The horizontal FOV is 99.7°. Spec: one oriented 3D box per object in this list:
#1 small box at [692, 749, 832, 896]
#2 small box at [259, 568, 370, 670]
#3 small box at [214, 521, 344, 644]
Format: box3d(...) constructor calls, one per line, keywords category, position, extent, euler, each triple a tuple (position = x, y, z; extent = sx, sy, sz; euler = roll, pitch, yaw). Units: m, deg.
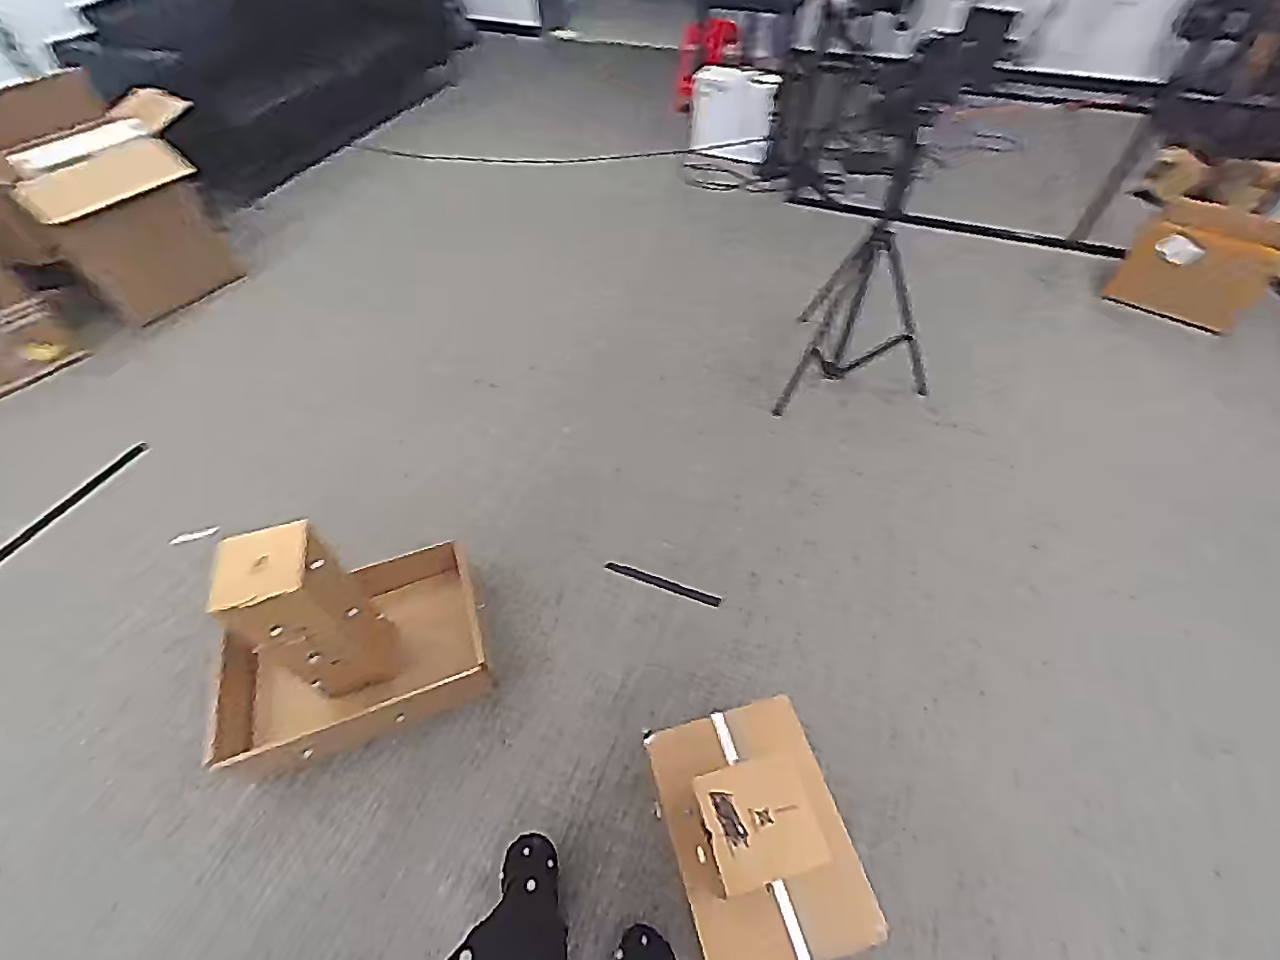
box3d(category="small box", position=(0.192, 0.583, 0.915), extent=(0.179, 0.176, 0.168), euler=(-13, 54, -9))
box3d(category="small box", position=(-0.750, 0.328, 1.267), extent=(0.168, 0.176, 0.179), euler=(-13, 53, -10))
box3d(category="small box", position=(-0.749, 0.218, 1.145), extent=(0.168, 0.176, 0.179), euler=(-14, 53, -10))
